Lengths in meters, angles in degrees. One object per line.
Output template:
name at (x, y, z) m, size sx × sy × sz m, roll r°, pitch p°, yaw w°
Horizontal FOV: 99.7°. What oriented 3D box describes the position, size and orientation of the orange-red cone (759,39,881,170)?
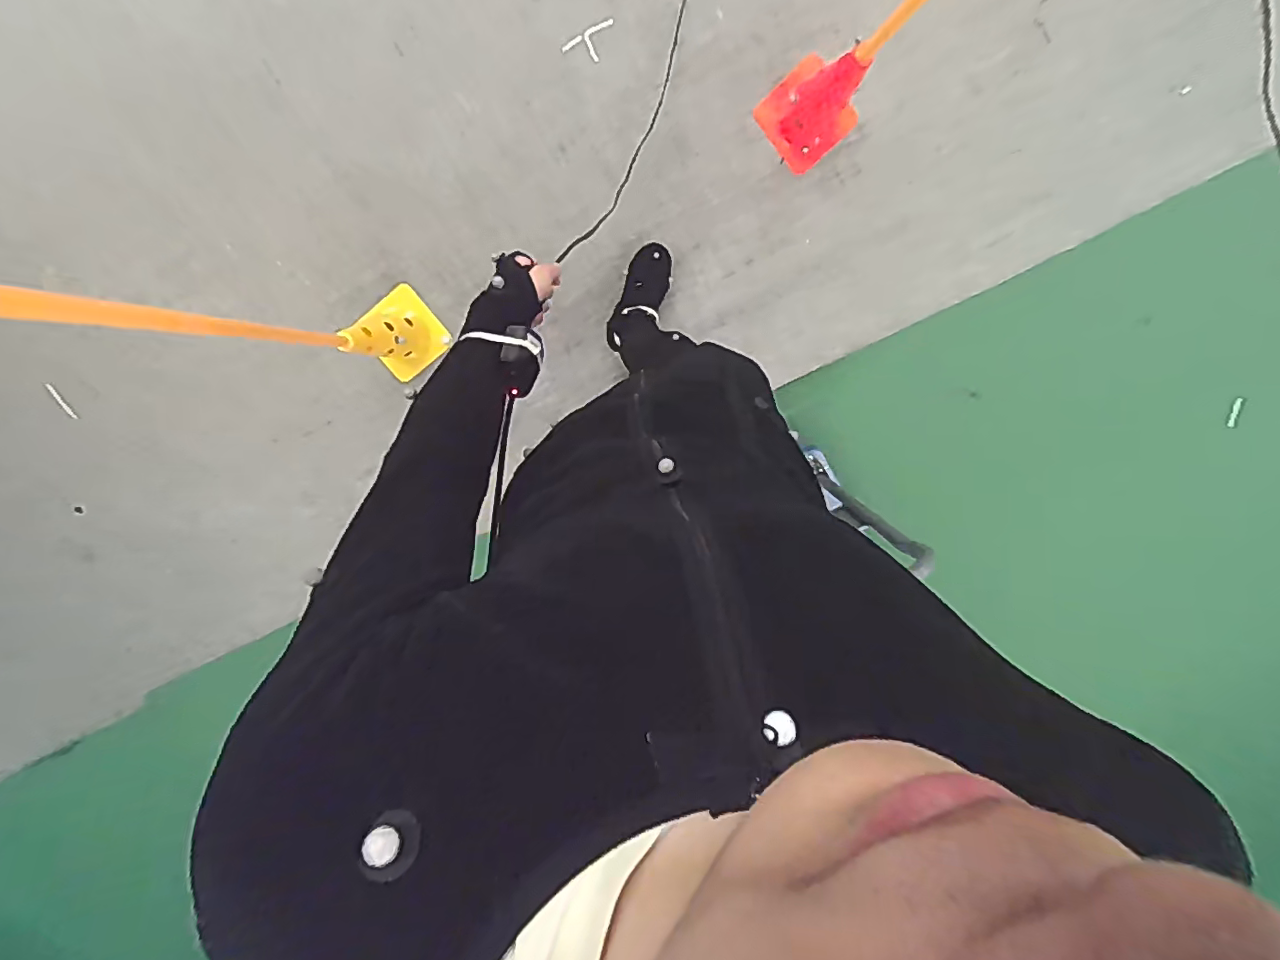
orange-red cone at (0.426, -0.859, 1.176) m, size 0.199 × 0.360 × 0.198 m, roll -40°, pitch 105°, yaw 9°
